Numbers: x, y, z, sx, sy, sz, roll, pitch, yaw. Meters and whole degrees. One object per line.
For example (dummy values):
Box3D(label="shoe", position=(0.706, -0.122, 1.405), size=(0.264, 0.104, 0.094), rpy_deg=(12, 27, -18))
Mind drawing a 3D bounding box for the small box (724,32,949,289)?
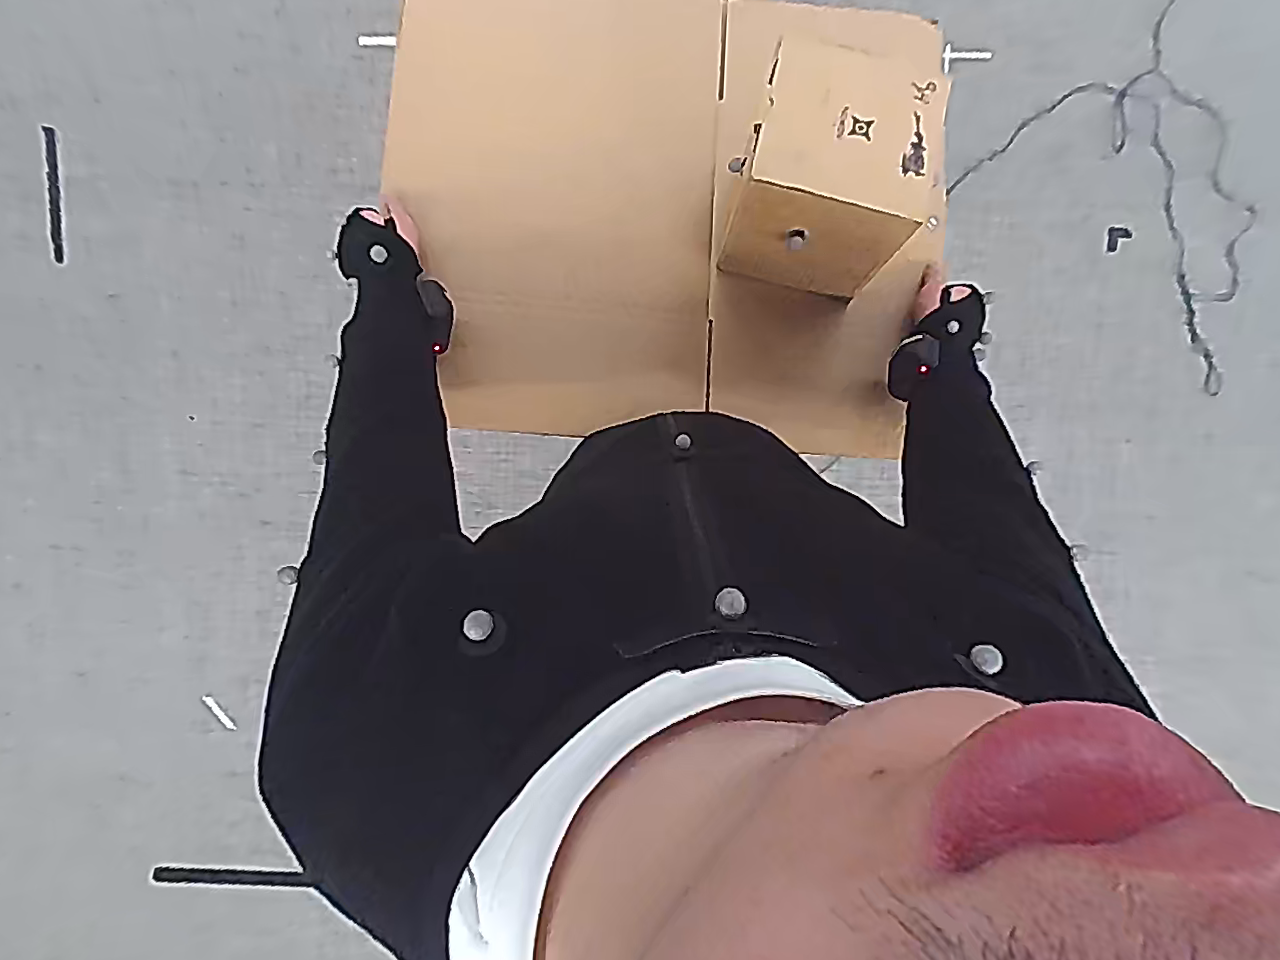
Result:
Box3D(label="small box", position=(0.203, -0.340, 0.608), size=(0.179, 0.176, 0.168), rpy_deg=(14, 83, 1))
